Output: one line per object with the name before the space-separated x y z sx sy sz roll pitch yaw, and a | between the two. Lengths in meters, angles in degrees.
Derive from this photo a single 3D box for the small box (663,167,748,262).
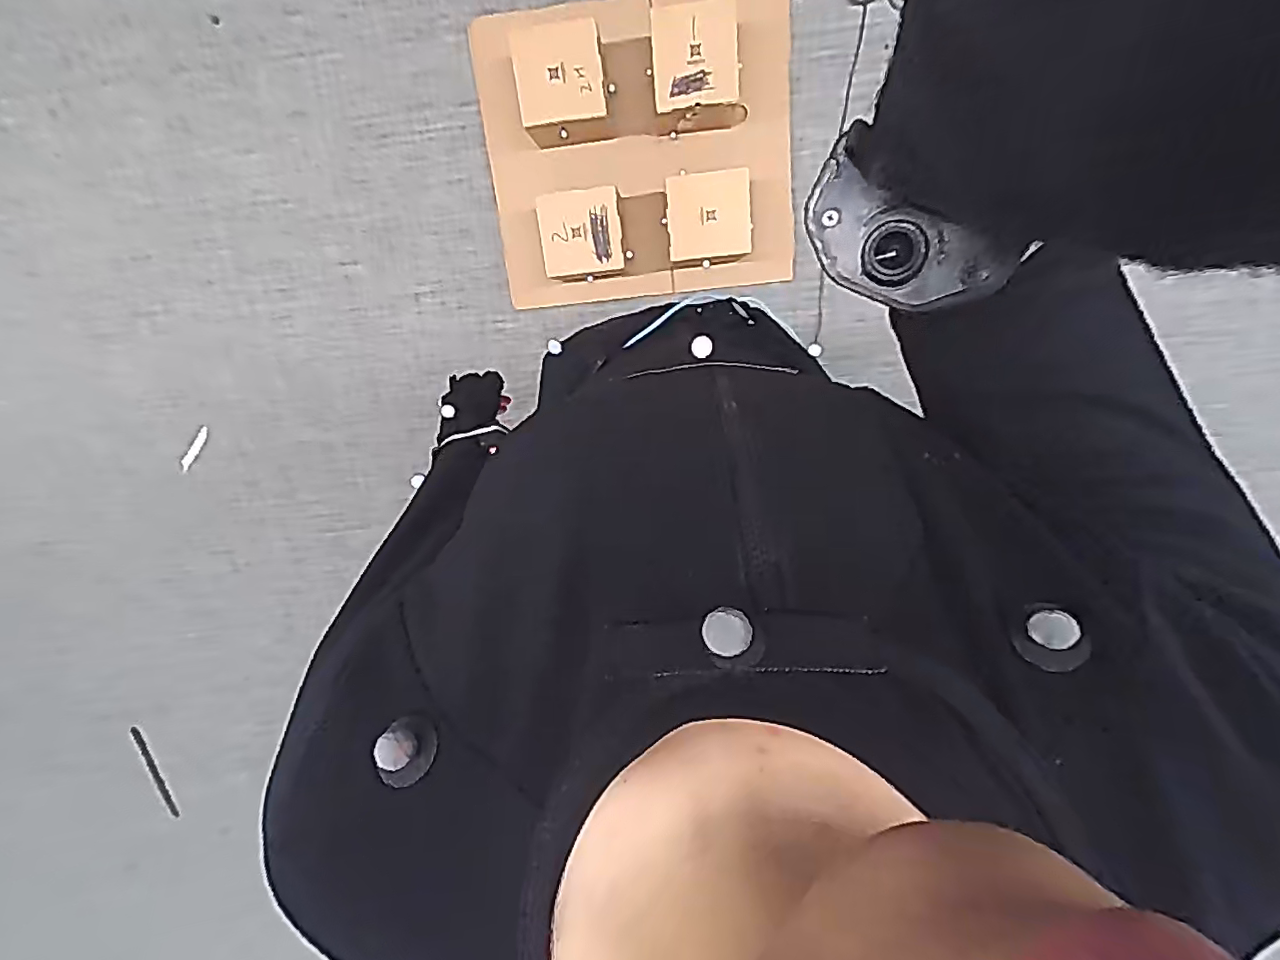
small box | 0.144 -0.587 1.213 0.179 0.176 0.168 -3 108 6
